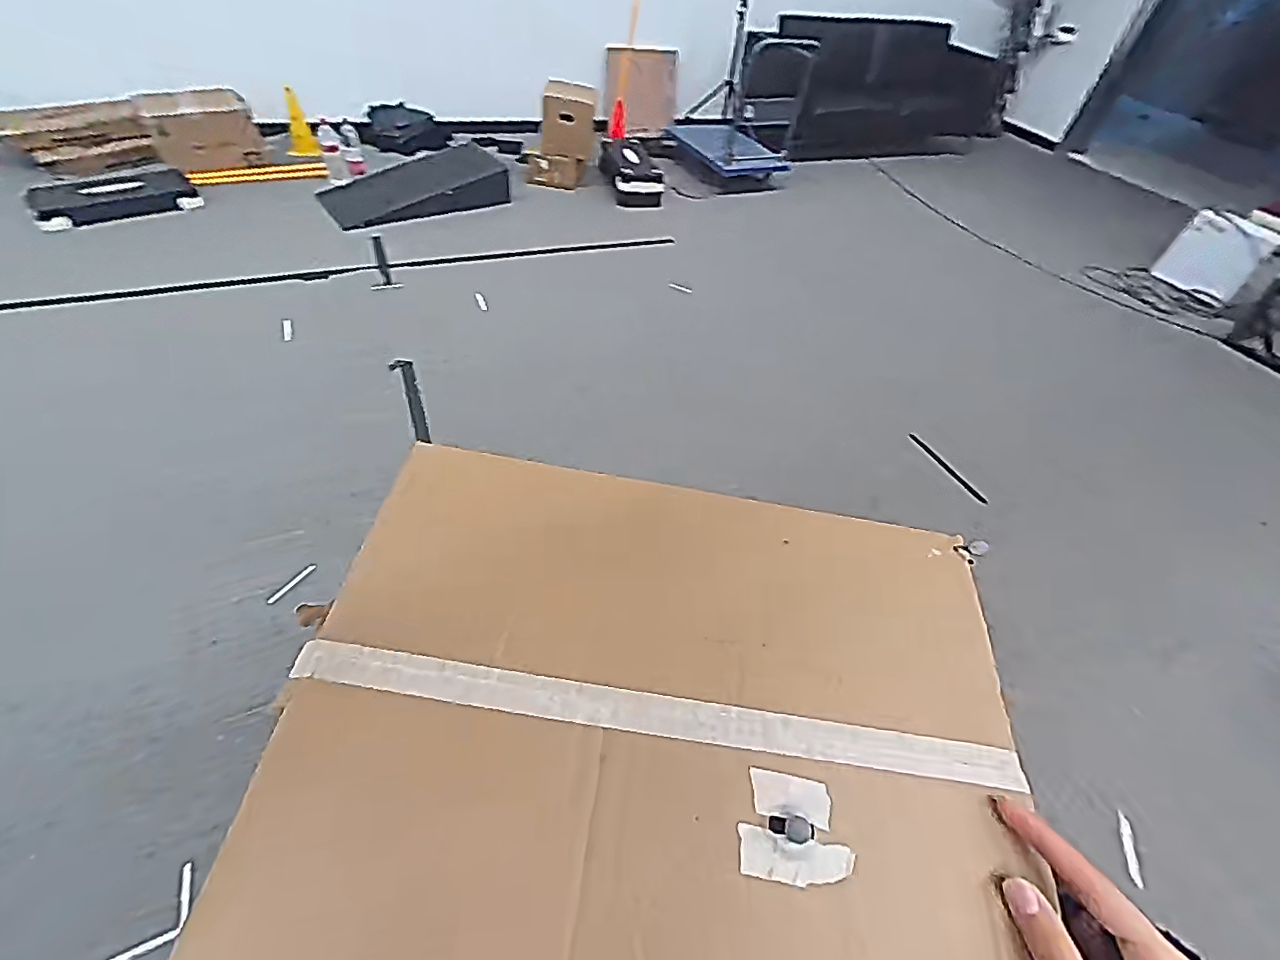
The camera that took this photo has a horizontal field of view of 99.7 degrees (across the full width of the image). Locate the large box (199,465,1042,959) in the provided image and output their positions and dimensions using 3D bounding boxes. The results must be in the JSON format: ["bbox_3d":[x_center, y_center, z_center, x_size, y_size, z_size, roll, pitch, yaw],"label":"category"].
[{"bbox_3d":[-0.005,0.224,0.436,0.408,0.320,0.320,9,55,-2],"label":"large box"}]
